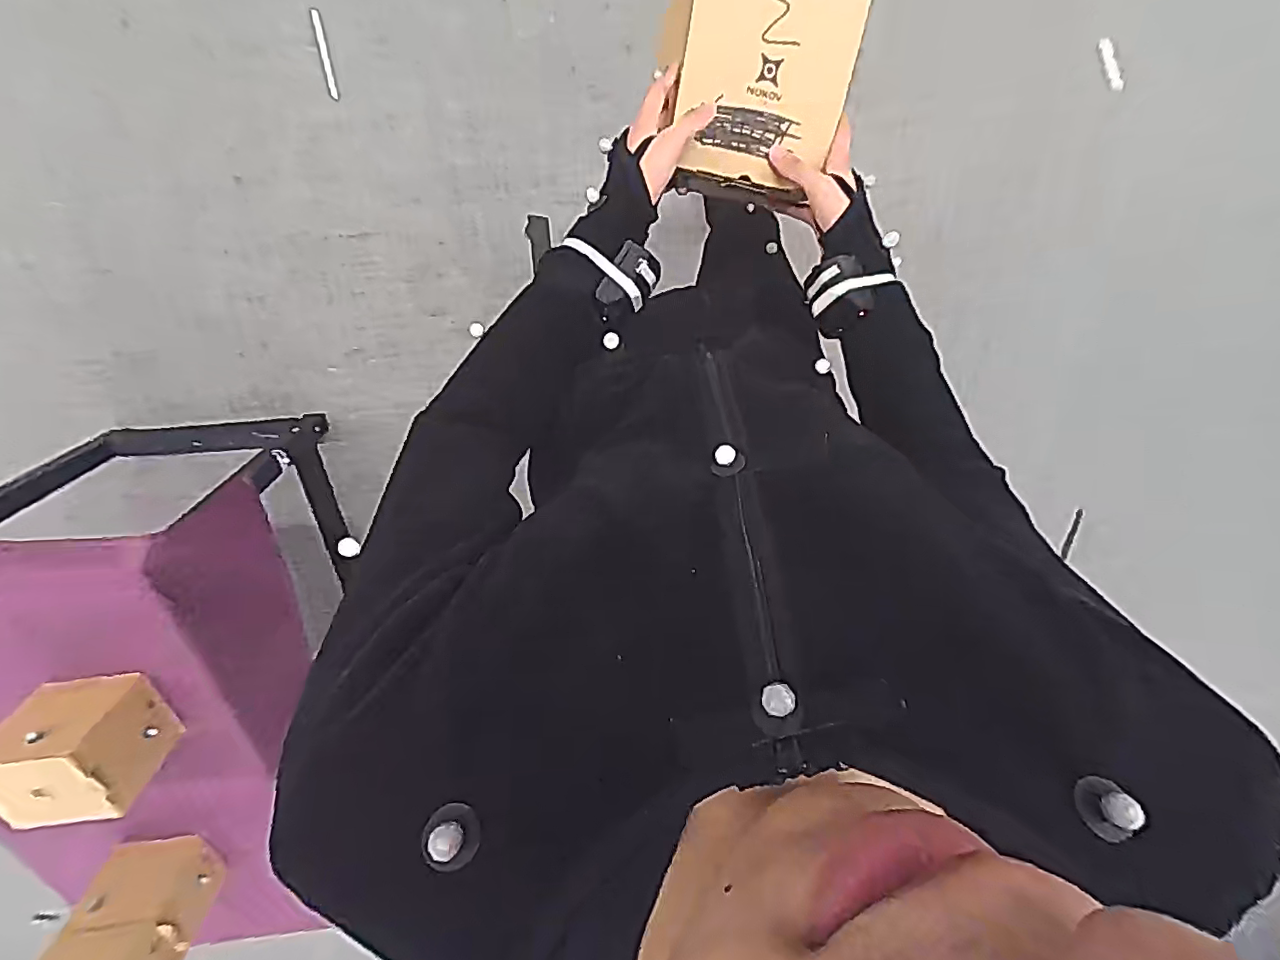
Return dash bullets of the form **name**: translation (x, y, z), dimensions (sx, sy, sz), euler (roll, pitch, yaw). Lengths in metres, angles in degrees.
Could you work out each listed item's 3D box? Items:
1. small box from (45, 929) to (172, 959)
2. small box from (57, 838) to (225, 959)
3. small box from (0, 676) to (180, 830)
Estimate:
- **small box**: translation (-1.046, 0.991, 1.026), dimensions (0.179, 0.176, 0.168), euler (-8, 118, -1)
- **small box**: translation (-1.061, 0.912, 1.169), dimensions (0.179, 0.176, 0.168), euler (-5, 119, -4)
- **small box**: translation (-0.972, 0.466, 0.939), dimensions (0.179, 0.176, 0.168), euler (-6, 119, -3)
